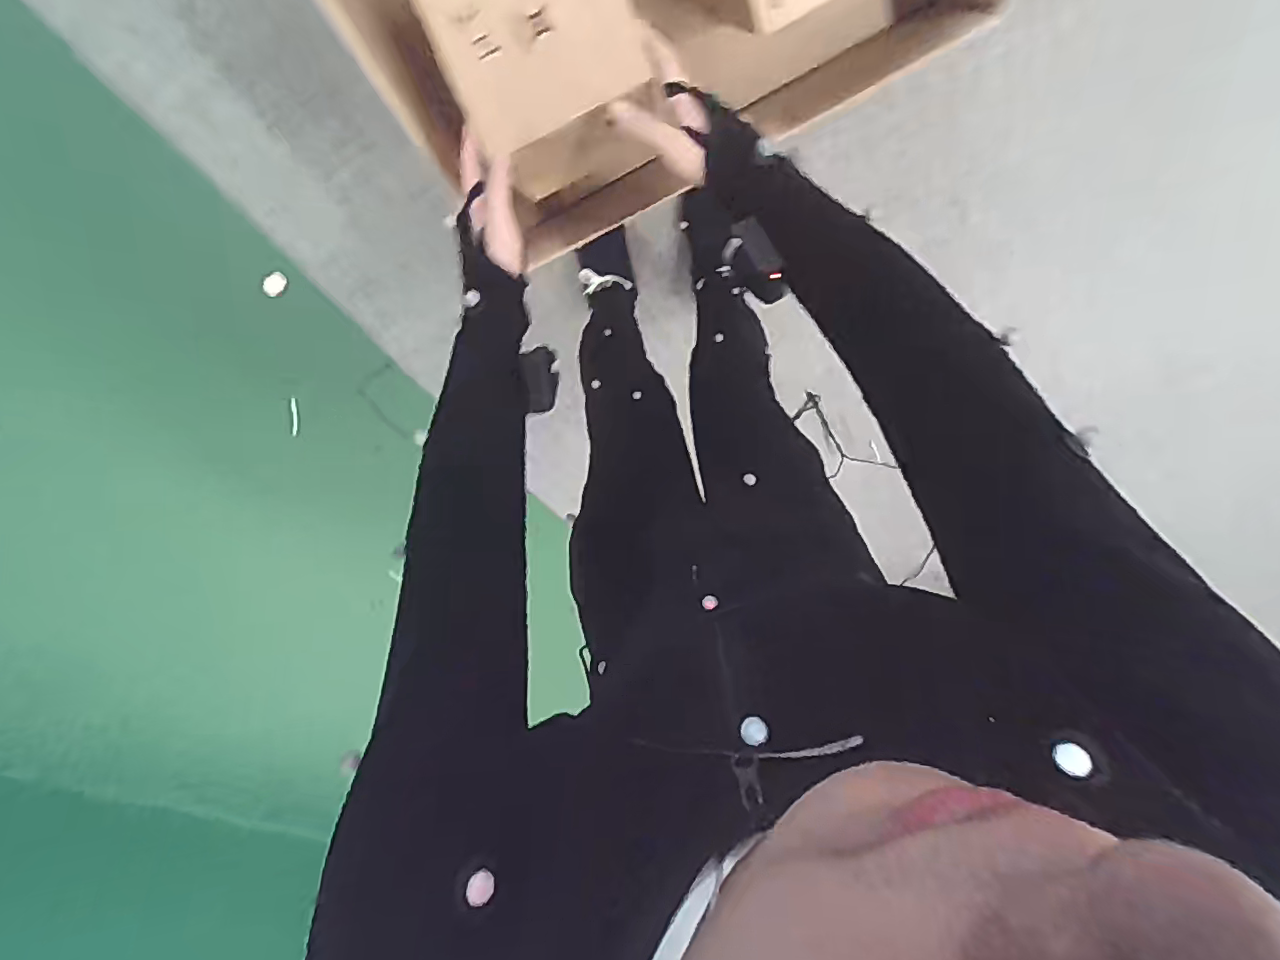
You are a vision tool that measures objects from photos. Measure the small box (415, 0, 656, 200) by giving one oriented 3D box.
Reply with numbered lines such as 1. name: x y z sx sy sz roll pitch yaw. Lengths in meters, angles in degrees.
1. small box: -0.090 -0.422 0.557 0.179 0.176 0.168 -21 101 11
